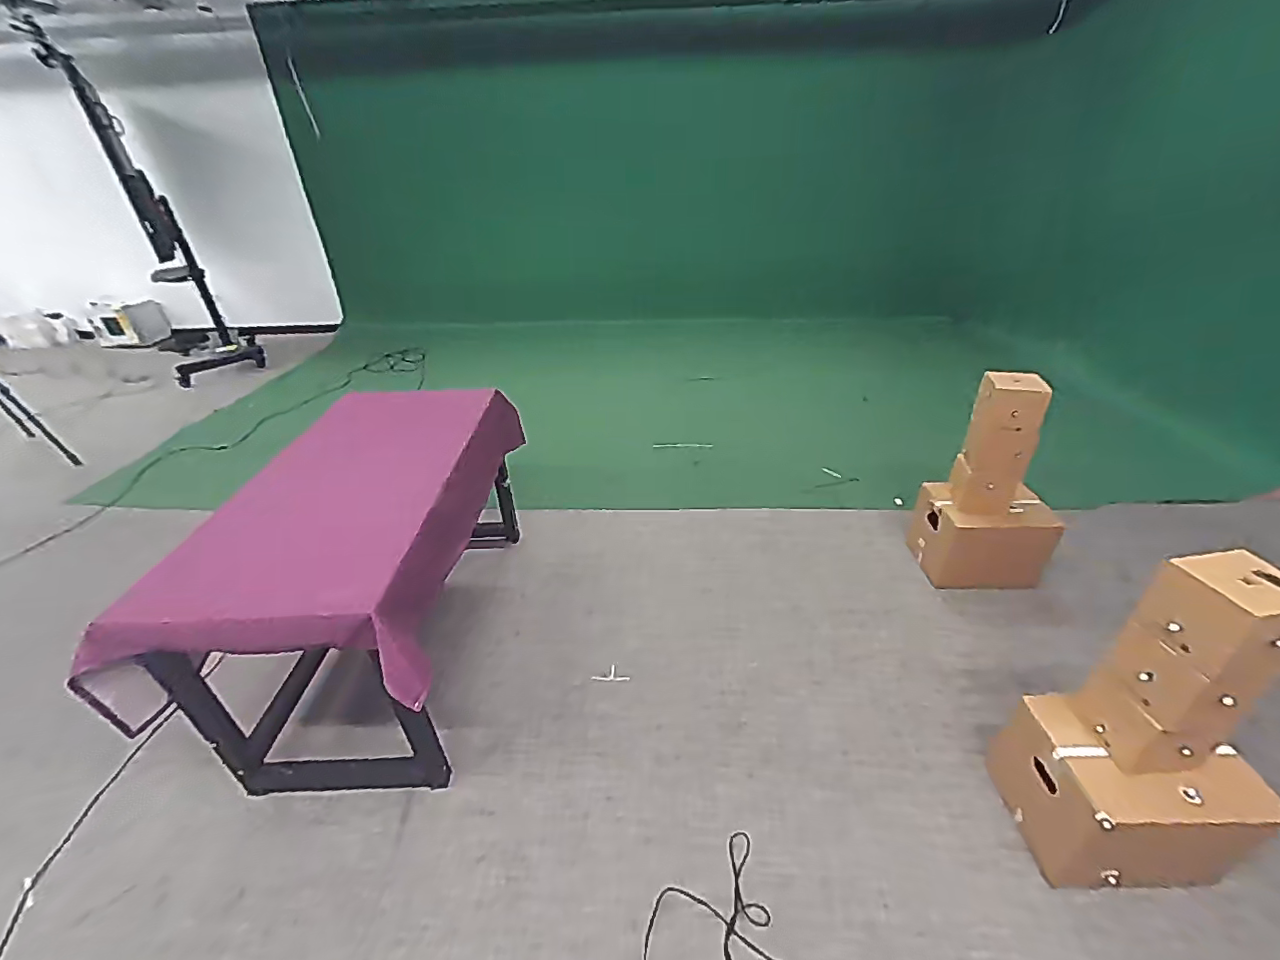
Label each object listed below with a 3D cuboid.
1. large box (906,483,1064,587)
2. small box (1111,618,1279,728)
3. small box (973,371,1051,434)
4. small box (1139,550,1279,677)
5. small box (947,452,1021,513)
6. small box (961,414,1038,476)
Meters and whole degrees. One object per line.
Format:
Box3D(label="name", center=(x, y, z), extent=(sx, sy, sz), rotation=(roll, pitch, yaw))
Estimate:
Box3D(label="large box", center=(1.370, 0.220, 2.192), extent=(0.408, 0.320, 0.320), rotation=(0, 32, 2))
Box3D(label="small box", center=(1.162, 0.403, 1.151), extent=(0.179, 0.176, 0.168), rotation=(-6, 31, -5))
Box3D(label="small box", center=(1.307, -0.274, 1.912), extent=(0.168, 0.176, 0.179), rotation=(7, 32, 15))
Box3D(label="small box", center=(1.158, 0.261, 1.066), extent=(0.179, 0.176, 0.168), rotation=(-6, 31, -5))
Box3D(label="small box", center=(1.311, 0.012, 2.071), extent=(0.179, 0.176, 0.168), rotation=(5, 32, 11))
Box3D(label="small box", center=(1.316, -0.129, 1.989), extent=(0.179, 0.176, 0.168), rotation=(6, 32, 15))
